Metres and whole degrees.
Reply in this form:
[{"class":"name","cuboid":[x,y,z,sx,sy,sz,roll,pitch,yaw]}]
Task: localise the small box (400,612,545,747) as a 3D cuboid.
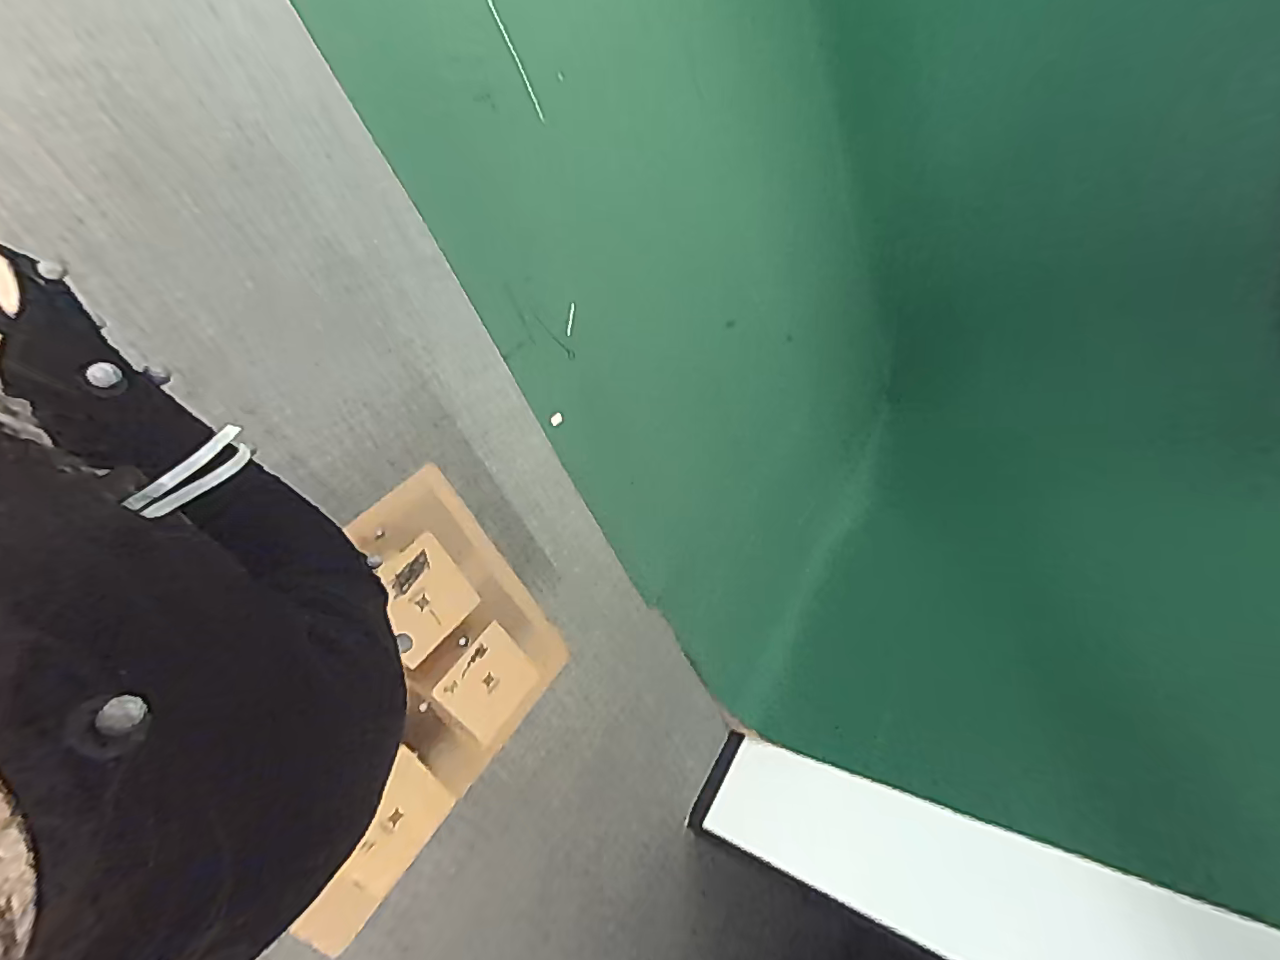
[{"class":"small box","cuboid":[-0.330,0.384,1.068,0.168,0.176,0.179,-50,125,-35]}]
